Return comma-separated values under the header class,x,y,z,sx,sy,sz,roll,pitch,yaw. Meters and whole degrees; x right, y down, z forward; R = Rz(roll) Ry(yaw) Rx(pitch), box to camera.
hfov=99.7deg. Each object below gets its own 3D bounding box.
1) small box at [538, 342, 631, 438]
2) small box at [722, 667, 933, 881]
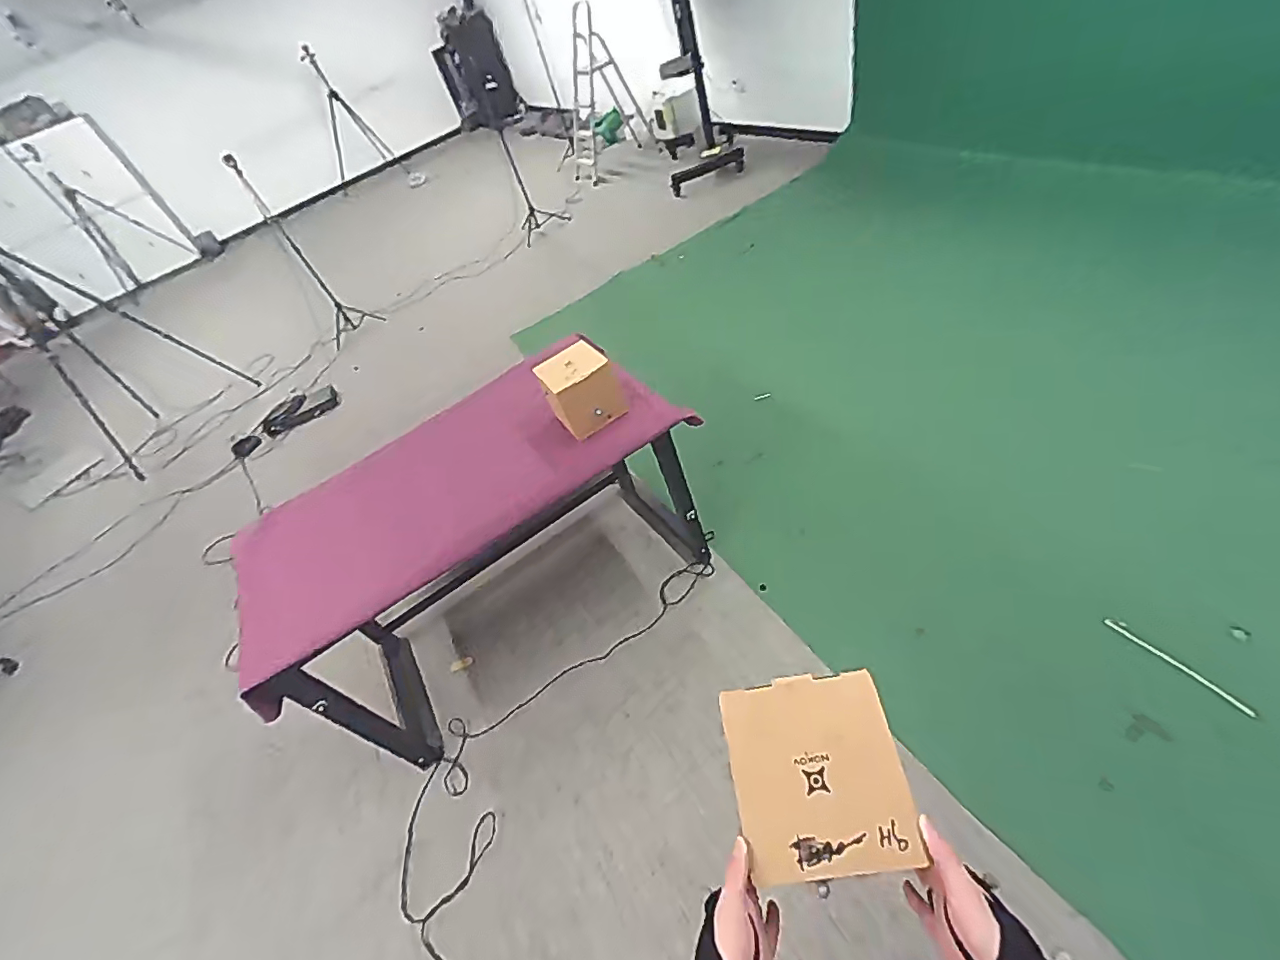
class,x,y,z,sx,sy,sz,roll,pitch,yaw
small box,-0.151,-0.244,1.478,0.168,0.176,0.179,-33,44,-9
small box,0.193,0.329,0.606,0.168,0.176,0.179,-13,57,7
